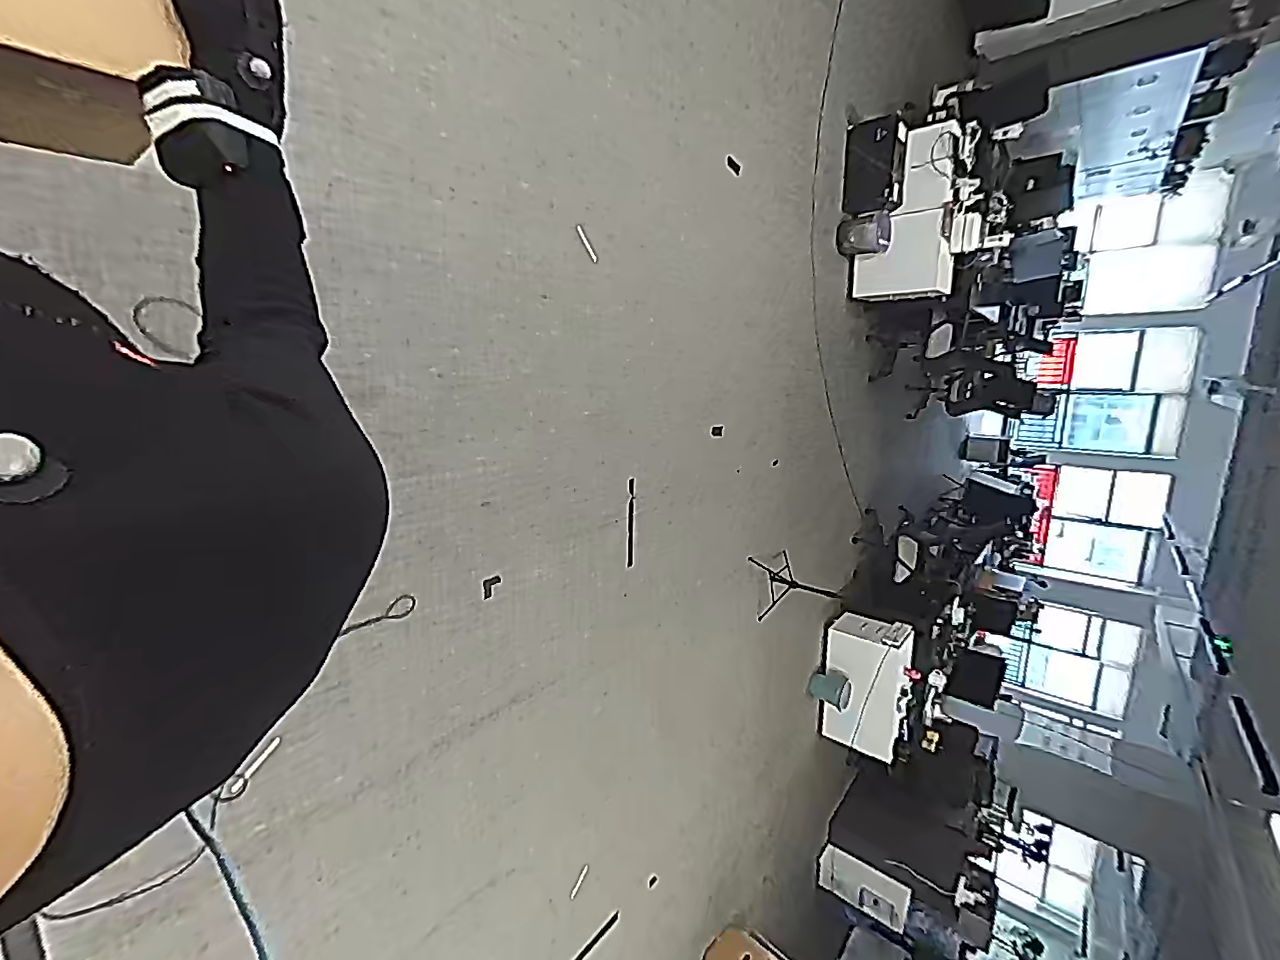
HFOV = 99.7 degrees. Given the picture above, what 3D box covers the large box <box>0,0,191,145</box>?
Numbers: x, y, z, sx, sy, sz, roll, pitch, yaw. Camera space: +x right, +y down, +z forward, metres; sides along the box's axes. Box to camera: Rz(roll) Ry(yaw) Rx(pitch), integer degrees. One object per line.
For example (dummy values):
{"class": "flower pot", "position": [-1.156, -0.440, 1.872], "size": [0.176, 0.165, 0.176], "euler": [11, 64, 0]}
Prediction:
{"class": "large box", "position": [-0.580, -0.445, 0.318], "size": [0.408, 0.320, 0.320], "euler": [-15, 114, -48]}
